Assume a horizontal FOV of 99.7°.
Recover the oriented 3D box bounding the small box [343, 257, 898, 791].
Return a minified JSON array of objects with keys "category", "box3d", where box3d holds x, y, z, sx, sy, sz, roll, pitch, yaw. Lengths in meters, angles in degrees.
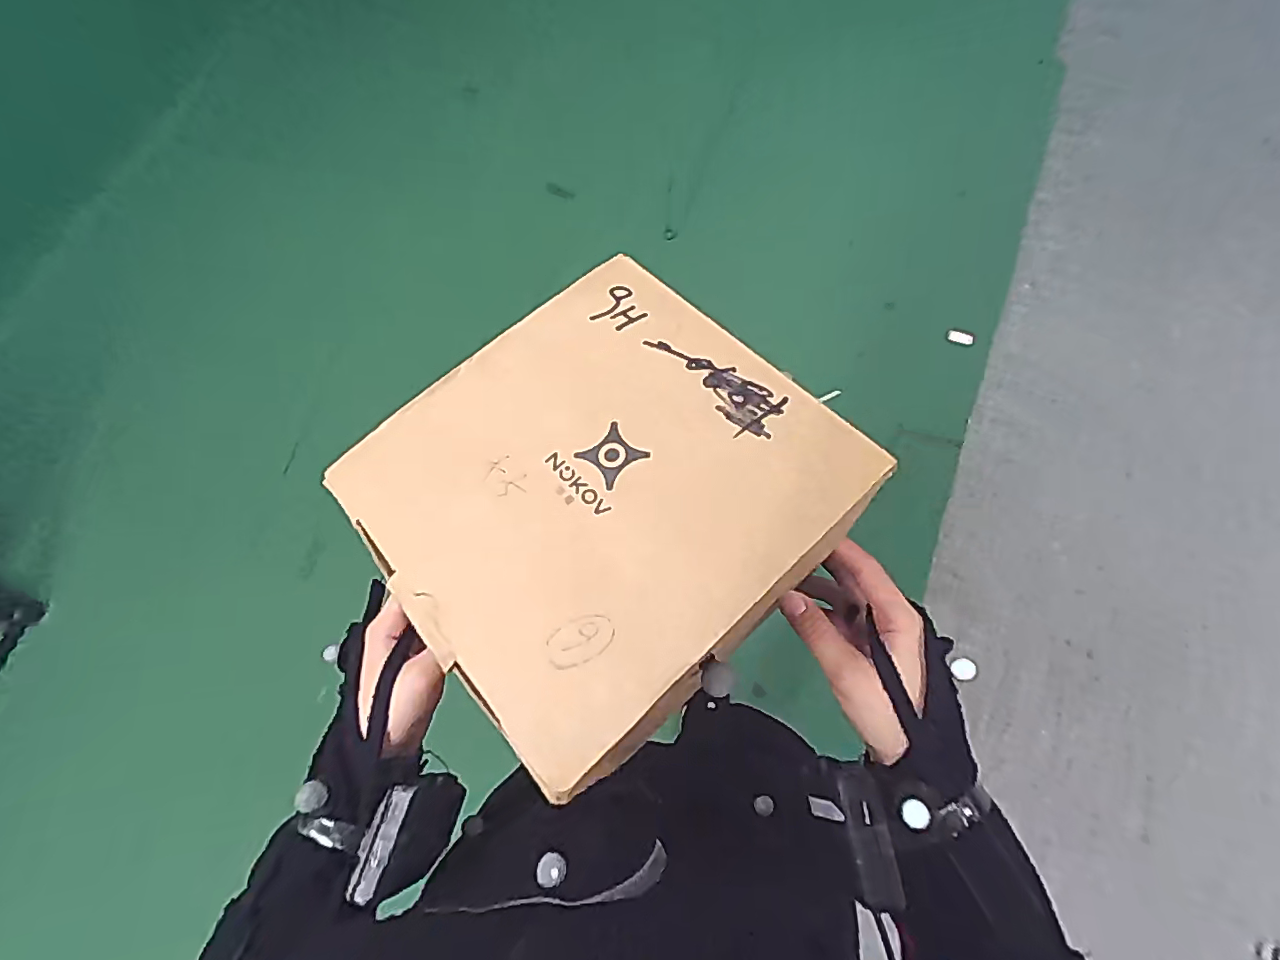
[{"category":"small box","box3d":[-0.006,0.029,0.293,0.179,0.176,0.168,-40,68,-12]}]
